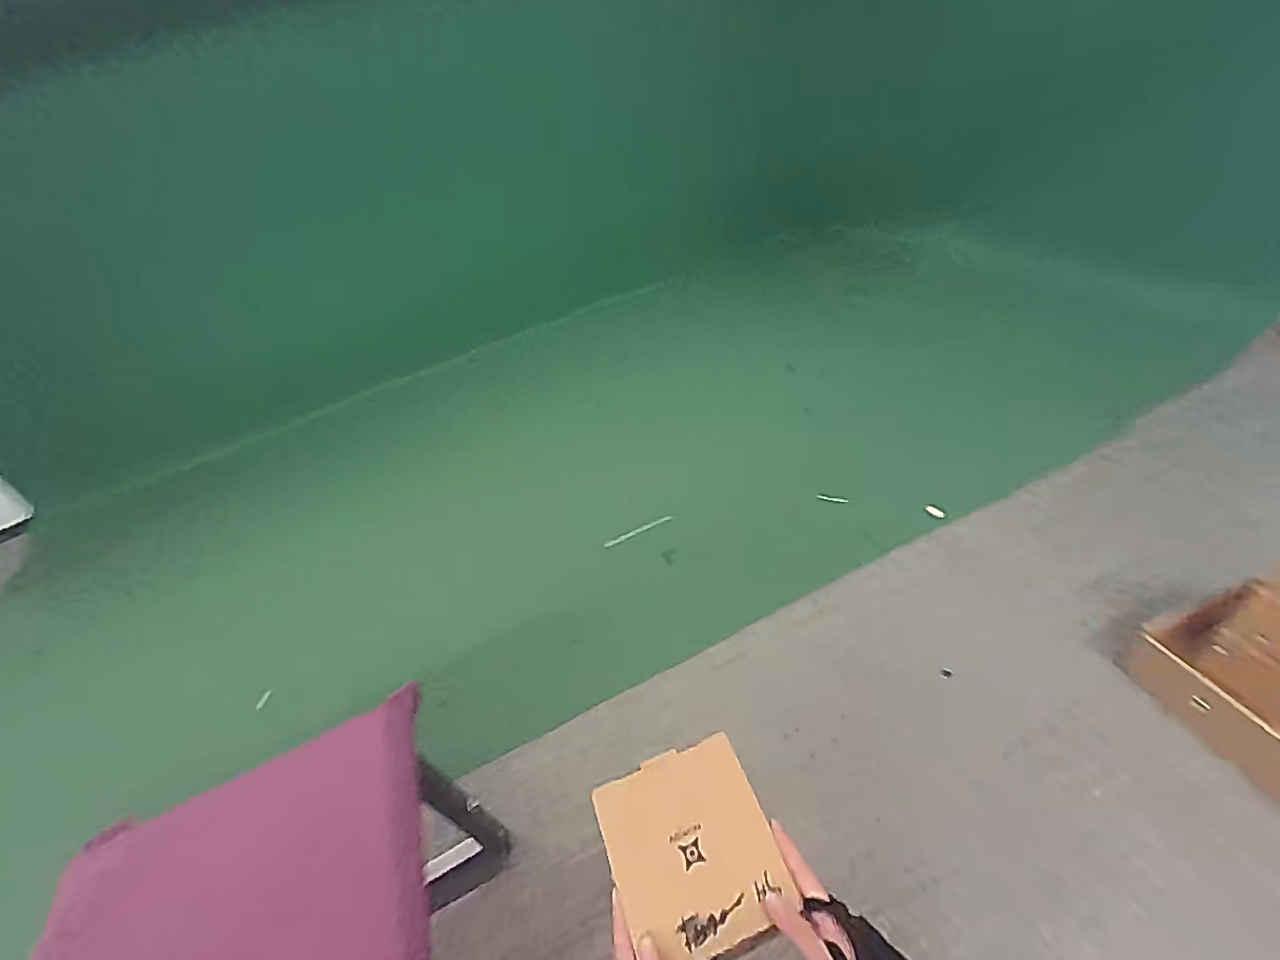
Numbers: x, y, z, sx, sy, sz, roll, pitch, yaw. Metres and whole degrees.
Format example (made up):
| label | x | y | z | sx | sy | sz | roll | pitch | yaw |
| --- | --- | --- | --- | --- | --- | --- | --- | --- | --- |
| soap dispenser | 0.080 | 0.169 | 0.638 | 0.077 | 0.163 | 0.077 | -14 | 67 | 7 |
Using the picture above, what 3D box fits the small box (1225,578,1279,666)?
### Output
| label | x | y | z | sx | sy | sz | roll | pitch | yaw |
| --- | --- | --- | --- | --- | --- | --- | --- | --- | --- |
| small box | 1.516 | 0.310 | 1.230 | 0.179 | 0.176 | 0.168 | -21 | 41 | -6 |
